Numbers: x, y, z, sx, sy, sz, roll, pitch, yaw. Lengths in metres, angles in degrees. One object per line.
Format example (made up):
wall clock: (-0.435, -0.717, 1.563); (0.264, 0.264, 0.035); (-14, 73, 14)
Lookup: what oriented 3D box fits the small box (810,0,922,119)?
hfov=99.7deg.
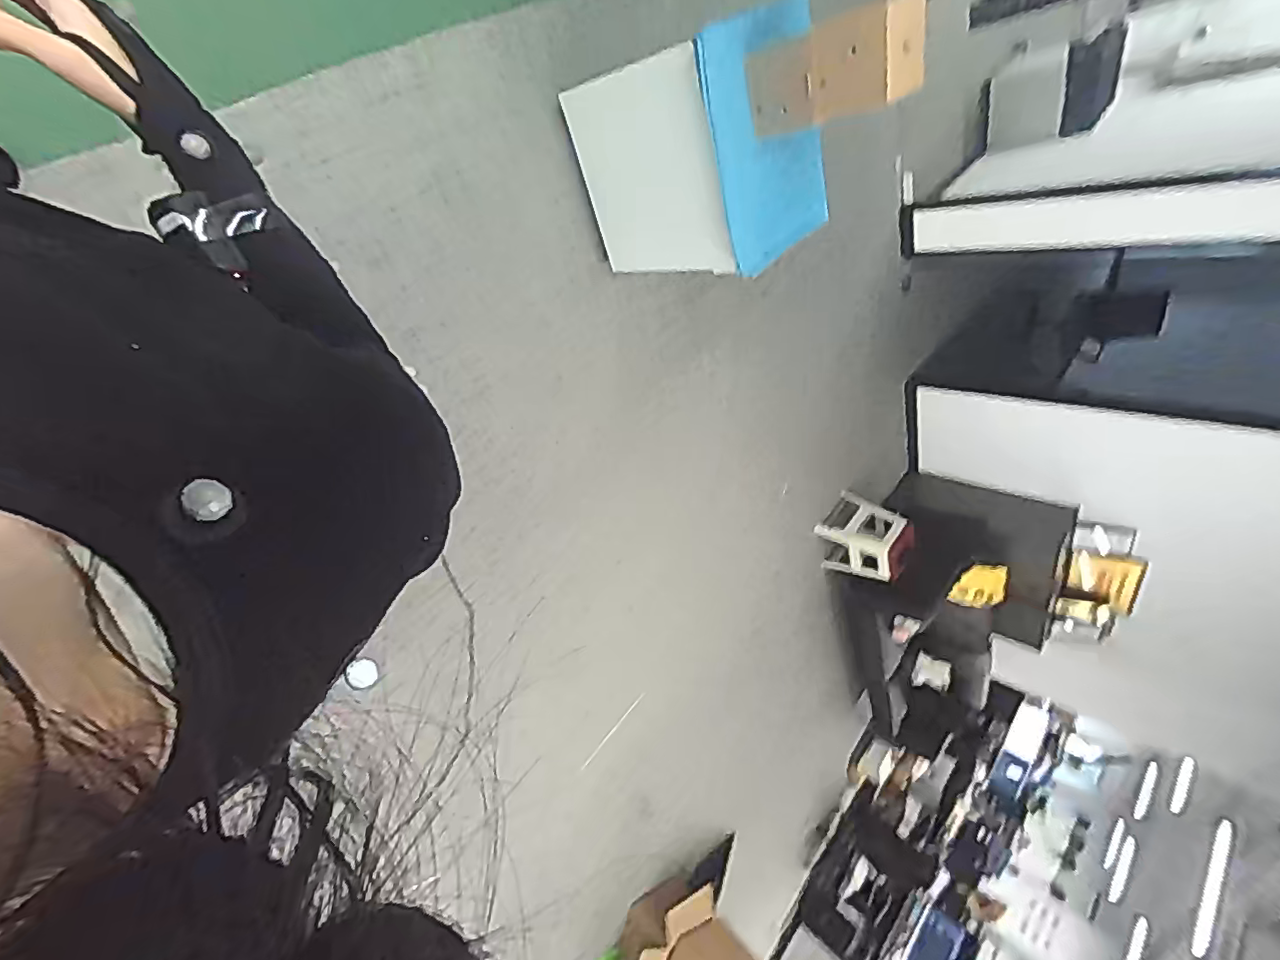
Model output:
small box: (0.472, -0.887, 1.138); (0.179, 0.176, 0.168); (-41, 131, -29)

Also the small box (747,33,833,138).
small box: (0.363, -0.919, 1.255); (0.179, 0.176, 0.168); (-42, 131, -28)
